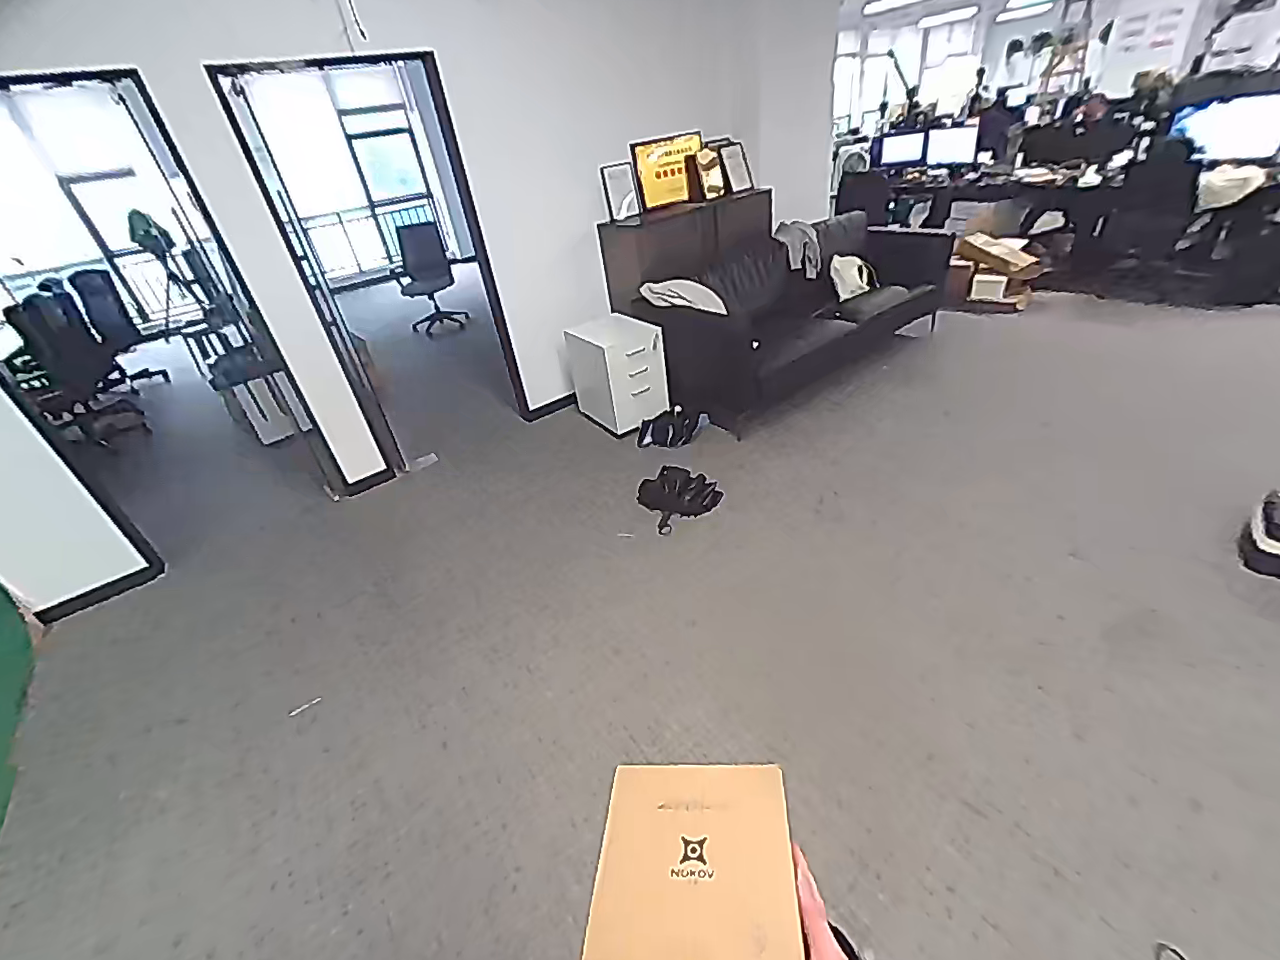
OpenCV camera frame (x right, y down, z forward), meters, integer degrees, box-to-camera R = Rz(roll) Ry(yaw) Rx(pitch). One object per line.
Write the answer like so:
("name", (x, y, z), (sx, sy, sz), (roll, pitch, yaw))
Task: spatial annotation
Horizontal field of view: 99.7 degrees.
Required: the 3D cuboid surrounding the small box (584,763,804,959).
("small box", (0.060, 0.391, 0.491), (0.168, 0.176, 0.179), (-5, 22, 10))
